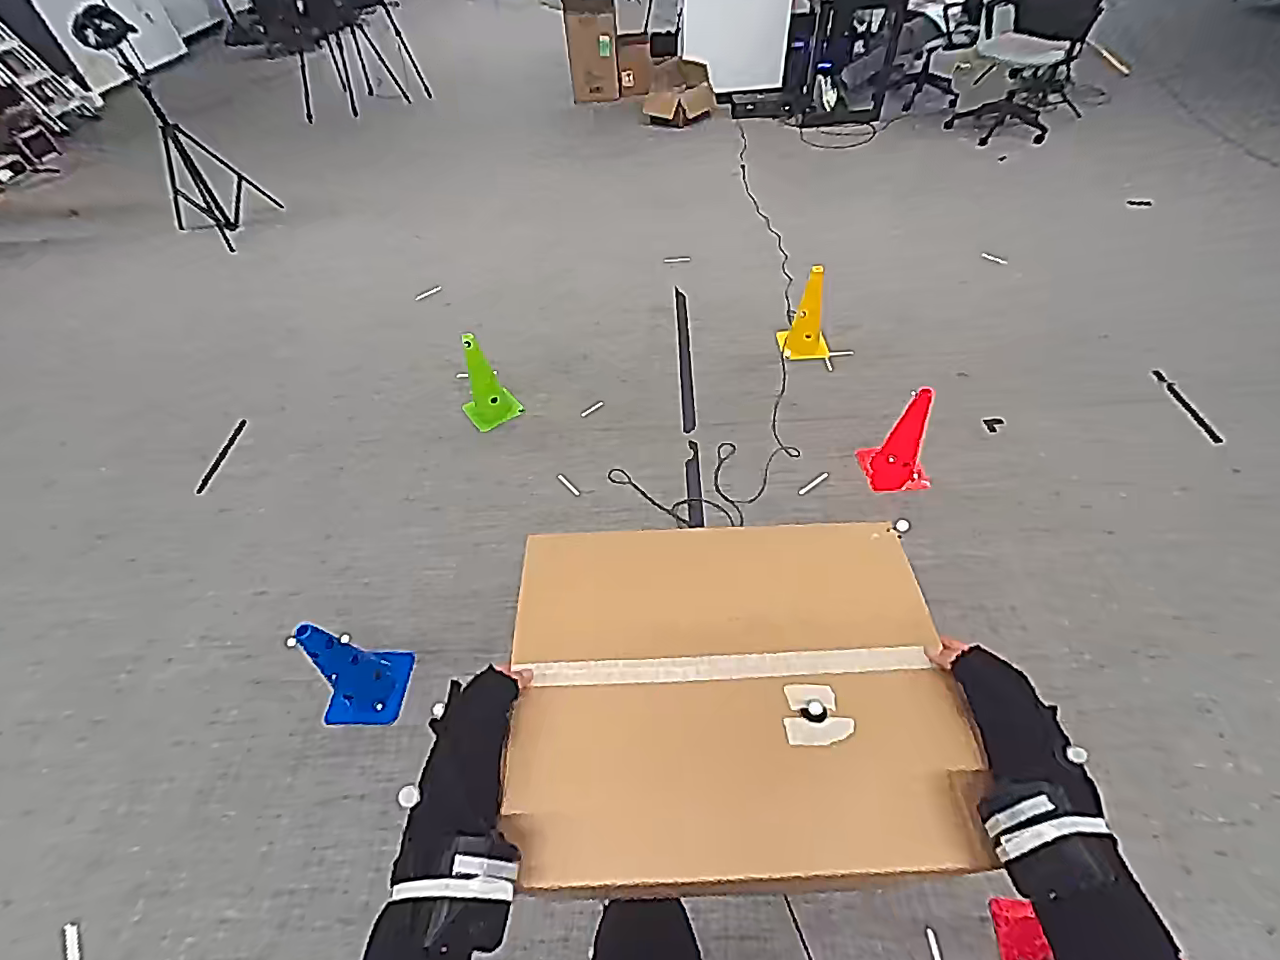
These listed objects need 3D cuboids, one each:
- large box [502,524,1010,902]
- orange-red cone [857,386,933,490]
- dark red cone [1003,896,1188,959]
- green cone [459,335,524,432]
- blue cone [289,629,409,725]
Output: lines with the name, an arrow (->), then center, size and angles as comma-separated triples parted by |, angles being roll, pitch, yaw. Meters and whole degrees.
large box -> 0.084, 0.271, 0.621 | 0.408, 0.320, 0.320 | -2, 51, -1
orange-red cone -> 0.870, -0.157, 1.759 | 0.198, 0.360, 0.199 | -4, 48, 0
dark red cone -> 0.805, 0.822, 0.905 | 0.201, 0.394, 0.202 | 1, 50, 7
green cone -> -0.614, -0.400, 2.079 | 0.202, 0.368, 0.200 | -33, 54, -20
blue cone -> -0.760, 0.474, 1.374 | 0.192, 0.380, 0.193 | -1, 50, 5
